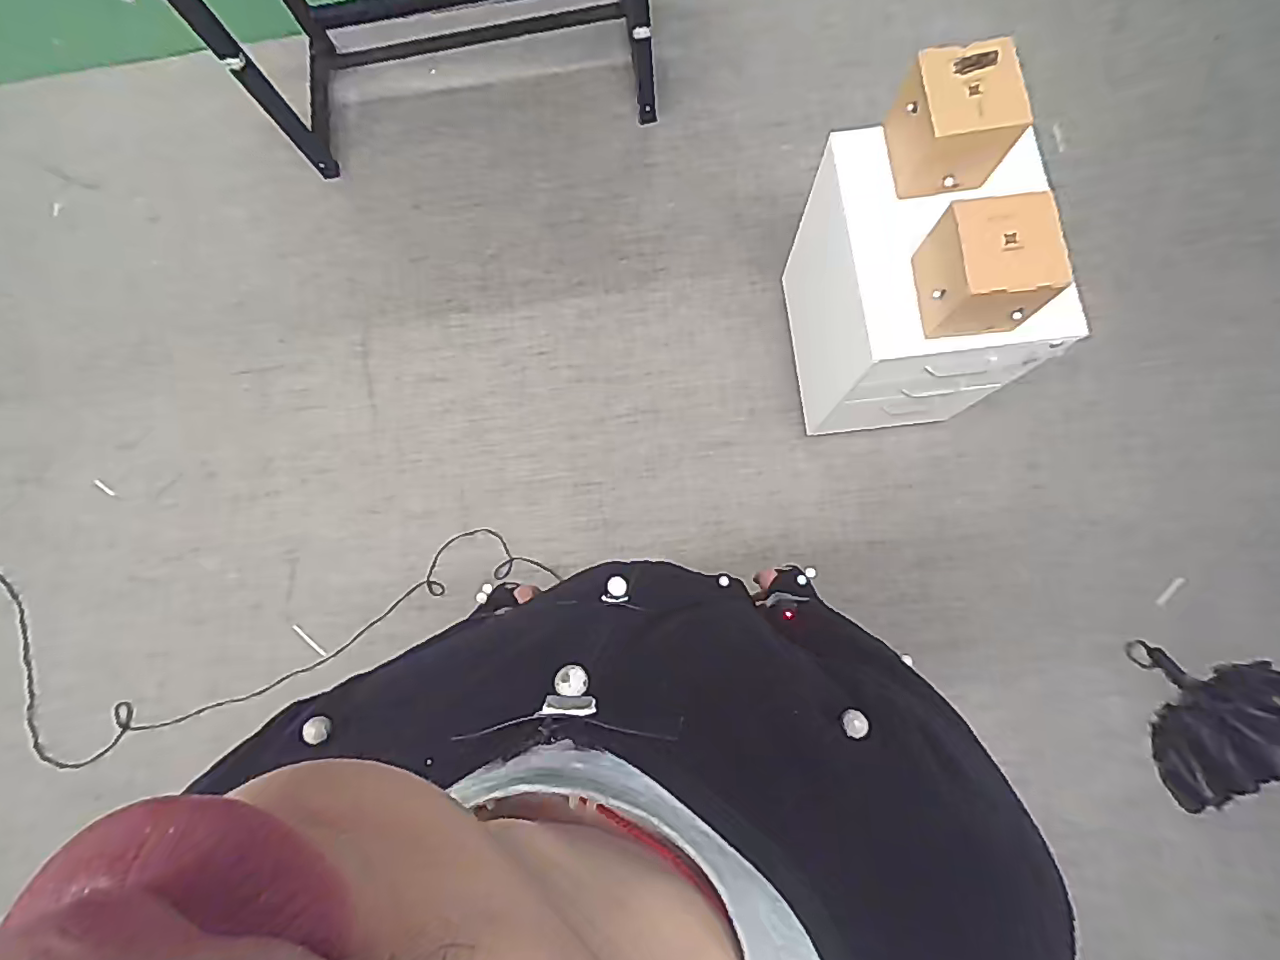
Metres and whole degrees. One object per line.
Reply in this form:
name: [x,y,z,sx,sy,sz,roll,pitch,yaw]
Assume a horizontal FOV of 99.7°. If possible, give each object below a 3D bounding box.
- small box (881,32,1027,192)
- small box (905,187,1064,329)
small box: [0.573,-0.678,1.013,0.168,0.176,0.179,-7,82,2]
small box: [0.601,-0.384,0.966,0.168,0.176,0.179,-5,79,1]
